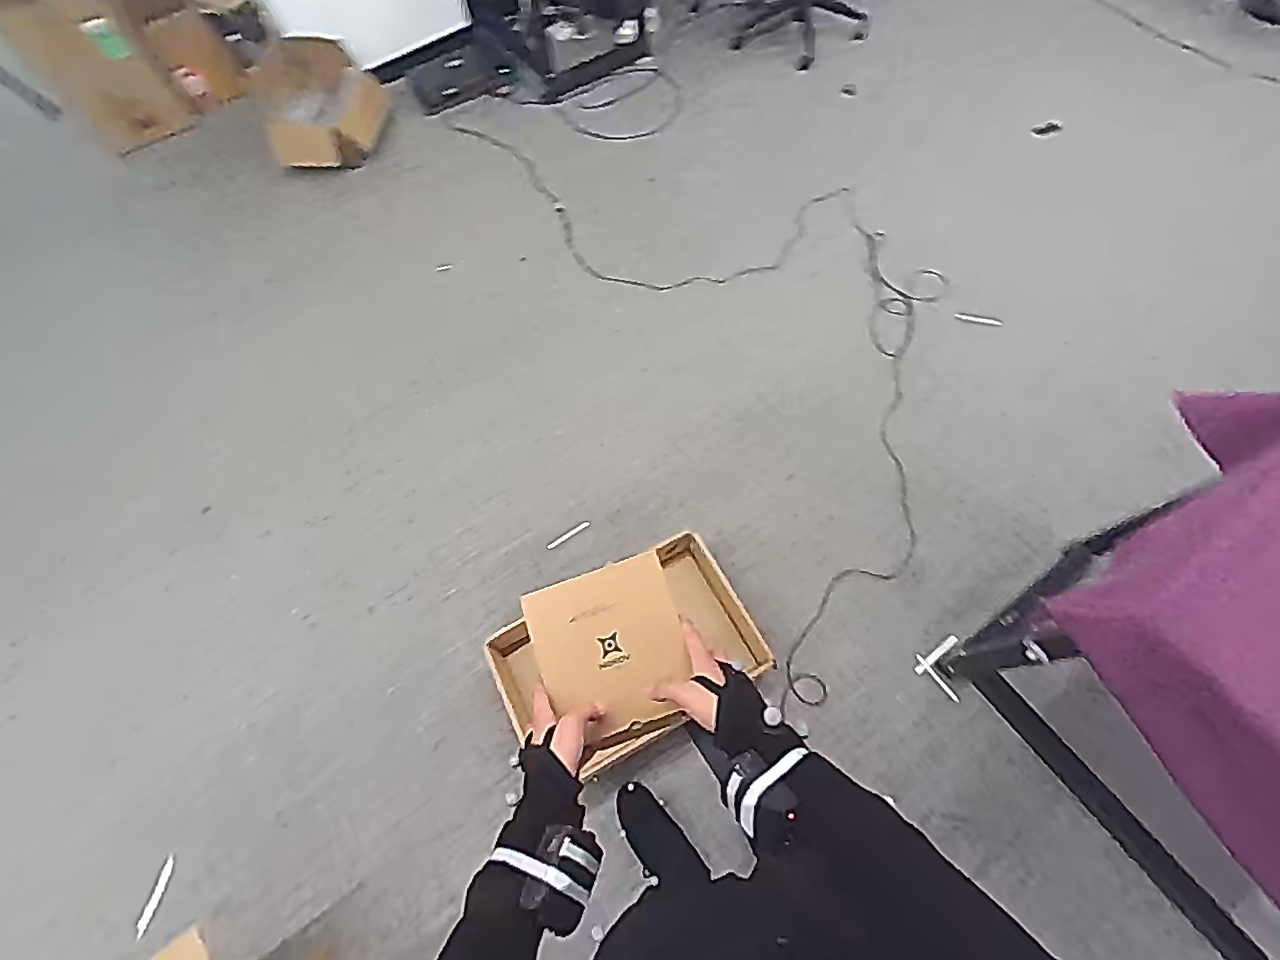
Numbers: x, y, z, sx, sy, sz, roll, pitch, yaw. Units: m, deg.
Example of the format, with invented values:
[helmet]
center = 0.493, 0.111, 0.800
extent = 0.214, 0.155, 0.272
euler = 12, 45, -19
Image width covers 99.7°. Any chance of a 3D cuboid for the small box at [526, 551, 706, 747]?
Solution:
[small box]
center = -0.024, 0.200, 0.676
extent = 0.168, 0.176, 0.179
euler = -18, 77, -2
